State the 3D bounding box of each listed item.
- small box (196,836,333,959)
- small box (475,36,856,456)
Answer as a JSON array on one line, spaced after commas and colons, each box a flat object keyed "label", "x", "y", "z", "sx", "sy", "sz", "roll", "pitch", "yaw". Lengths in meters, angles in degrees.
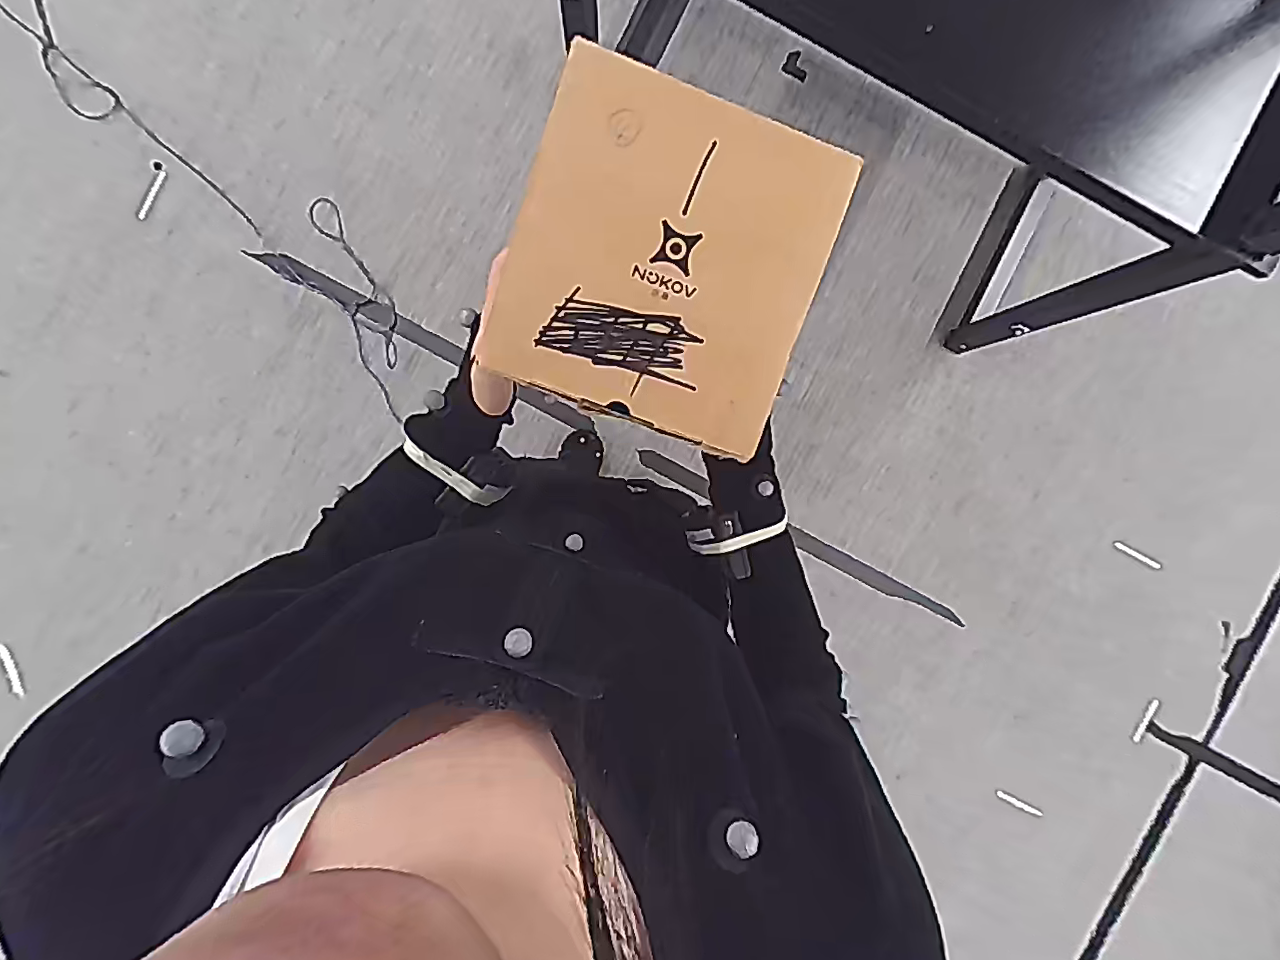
[{"label": "small box", "x": -0.856, "y": 0.987, "z": 1.253, "sx": 0.168, "sy": 0.176, "sz": 0.179, "roll": 30, "pitch": 90, "yaw": -4}, {"label": "small box", "x": 0.009, "y": -0.131, "z": 0.371, "sx": 0.168, "sy": 0.176, "sz": 0.179, "roll": 19, "pitch": 96, "yaw": -6}]
